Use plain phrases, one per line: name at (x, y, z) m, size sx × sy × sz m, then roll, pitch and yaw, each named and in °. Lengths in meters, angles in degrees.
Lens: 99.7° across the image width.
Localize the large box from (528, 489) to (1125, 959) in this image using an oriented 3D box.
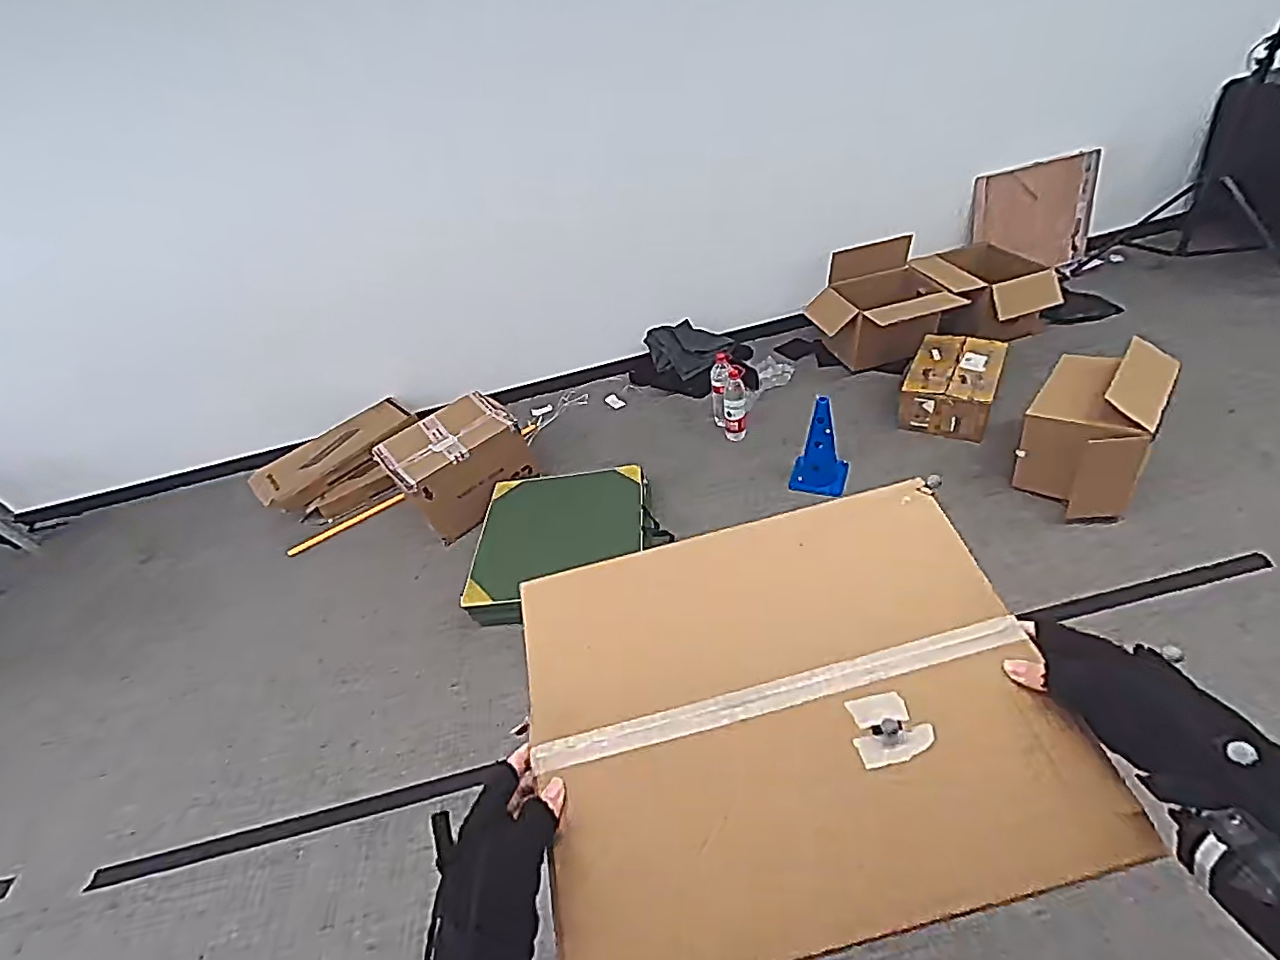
large box at (0.132, 0.264, 0.574) m, size 0.408 × 0.320 × 0.320 m, roll -15°, pitch 55°, yaw -1°
